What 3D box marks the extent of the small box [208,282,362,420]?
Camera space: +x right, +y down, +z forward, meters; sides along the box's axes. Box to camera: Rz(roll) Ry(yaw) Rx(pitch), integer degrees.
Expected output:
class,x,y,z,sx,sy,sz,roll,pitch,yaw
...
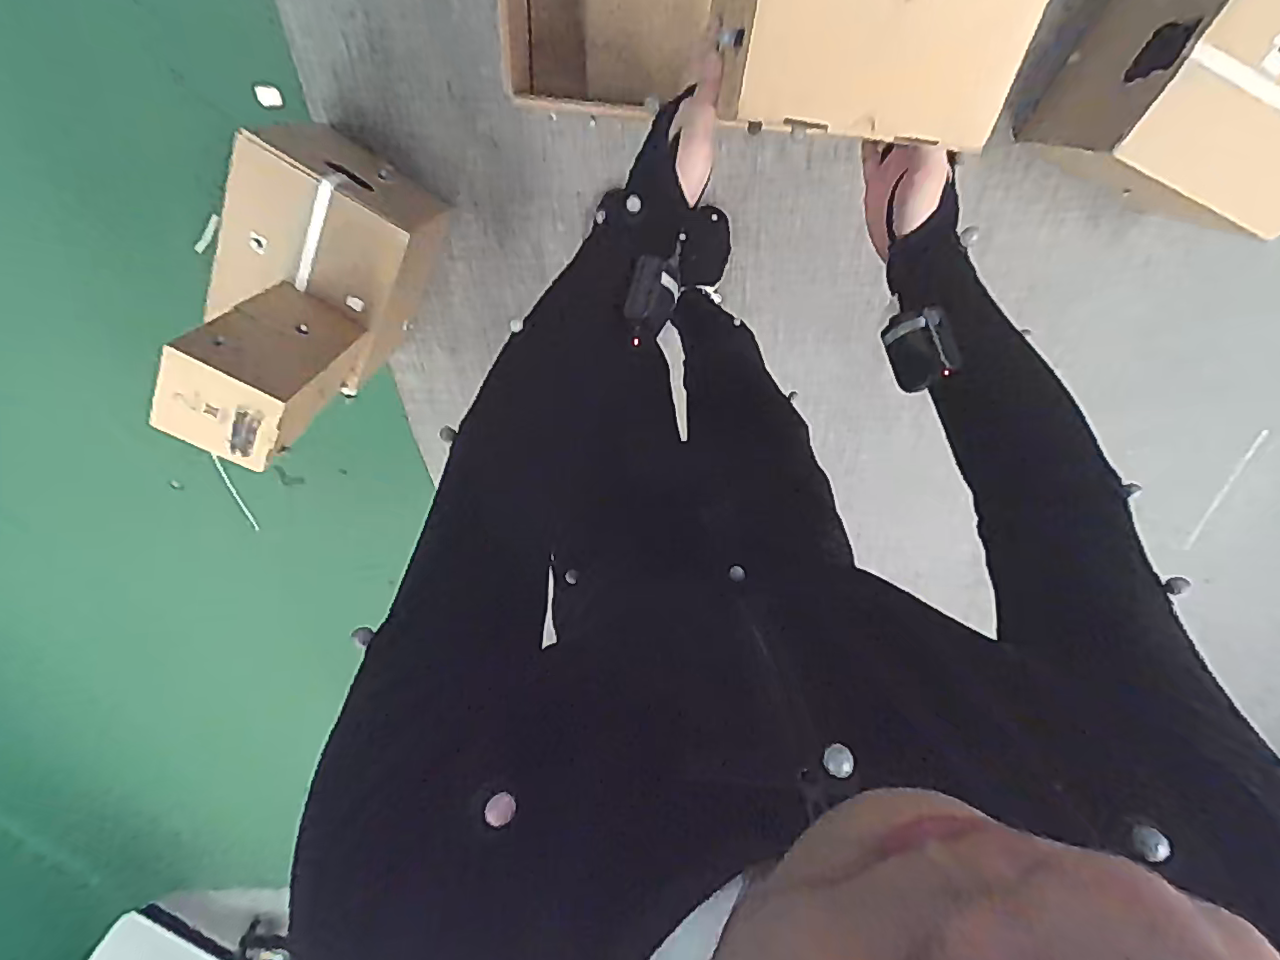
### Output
class,x,y,z,sx,sy,sz,roll,pitch,yaw
small box,-0.675,-0.254,1.046,0.179,0.176,0.168,31,119,-20

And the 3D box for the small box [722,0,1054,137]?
class,x,y,z,sx,sy,sz,roll,pitch,yaw
small box,0.157,-0.346,0.355,0.168,0.176,0.179,6,127,-4

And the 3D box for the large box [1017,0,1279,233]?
class,x,y,z,sx,sy,sz,roll,pitch,yaw
large box,1.053,-0.718,1.016,0.408,0.320,0.320,18,123,-11
